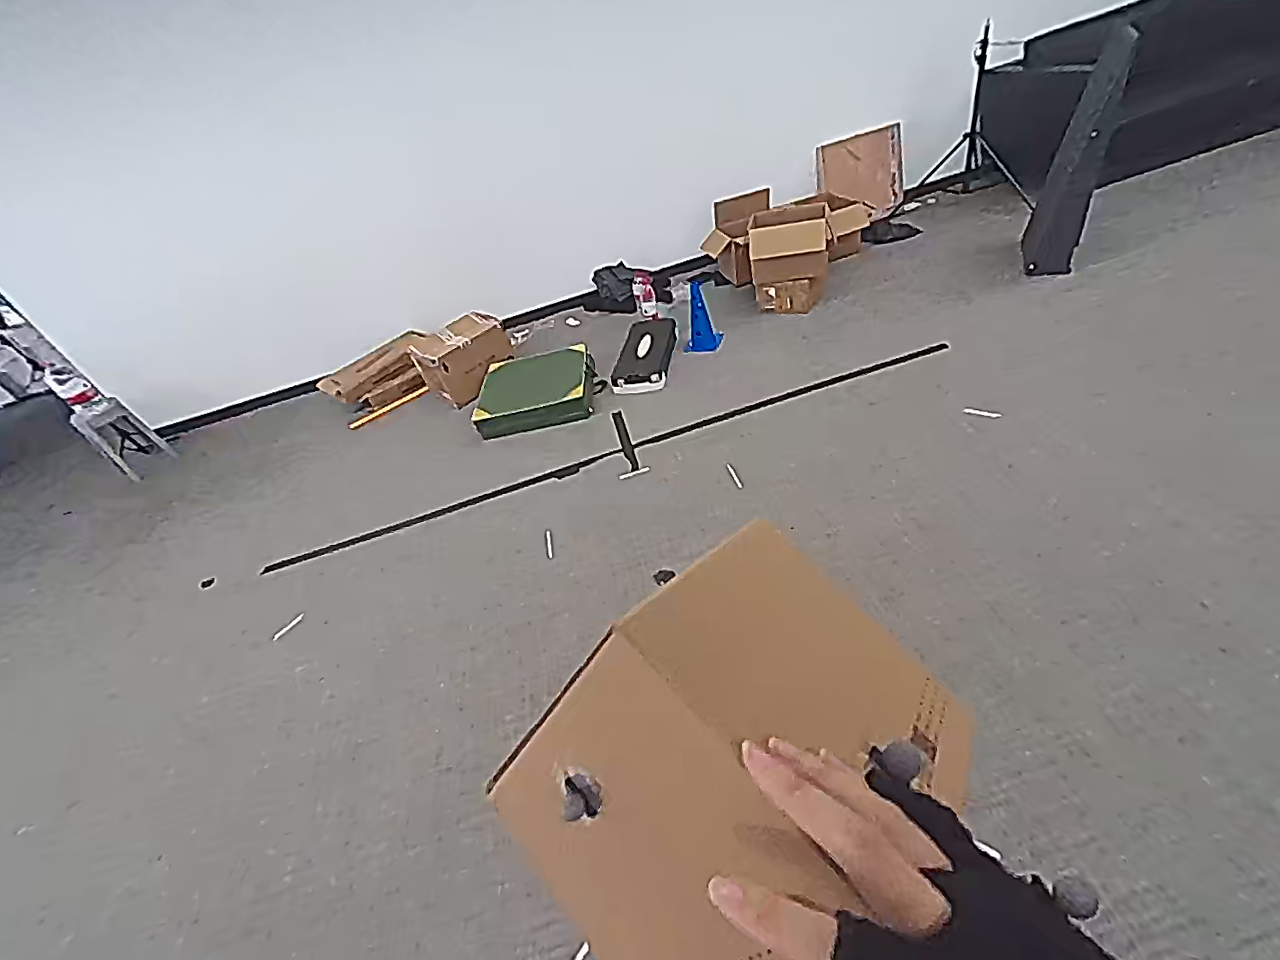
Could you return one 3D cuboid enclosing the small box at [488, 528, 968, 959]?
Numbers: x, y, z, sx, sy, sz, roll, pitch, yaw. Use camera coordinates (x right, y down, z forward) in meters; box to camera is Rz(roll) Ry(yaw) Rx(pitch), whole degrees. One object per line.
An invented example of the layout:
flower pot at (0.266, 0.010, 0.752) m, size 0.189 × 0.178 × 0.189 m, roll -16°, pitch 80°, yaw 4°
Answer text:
small box at (0.048, 0.165, 0.315) m, size 0.176 × 0.179 × 0.168 m, roll 44°, pitch 33°, yaw 16°
